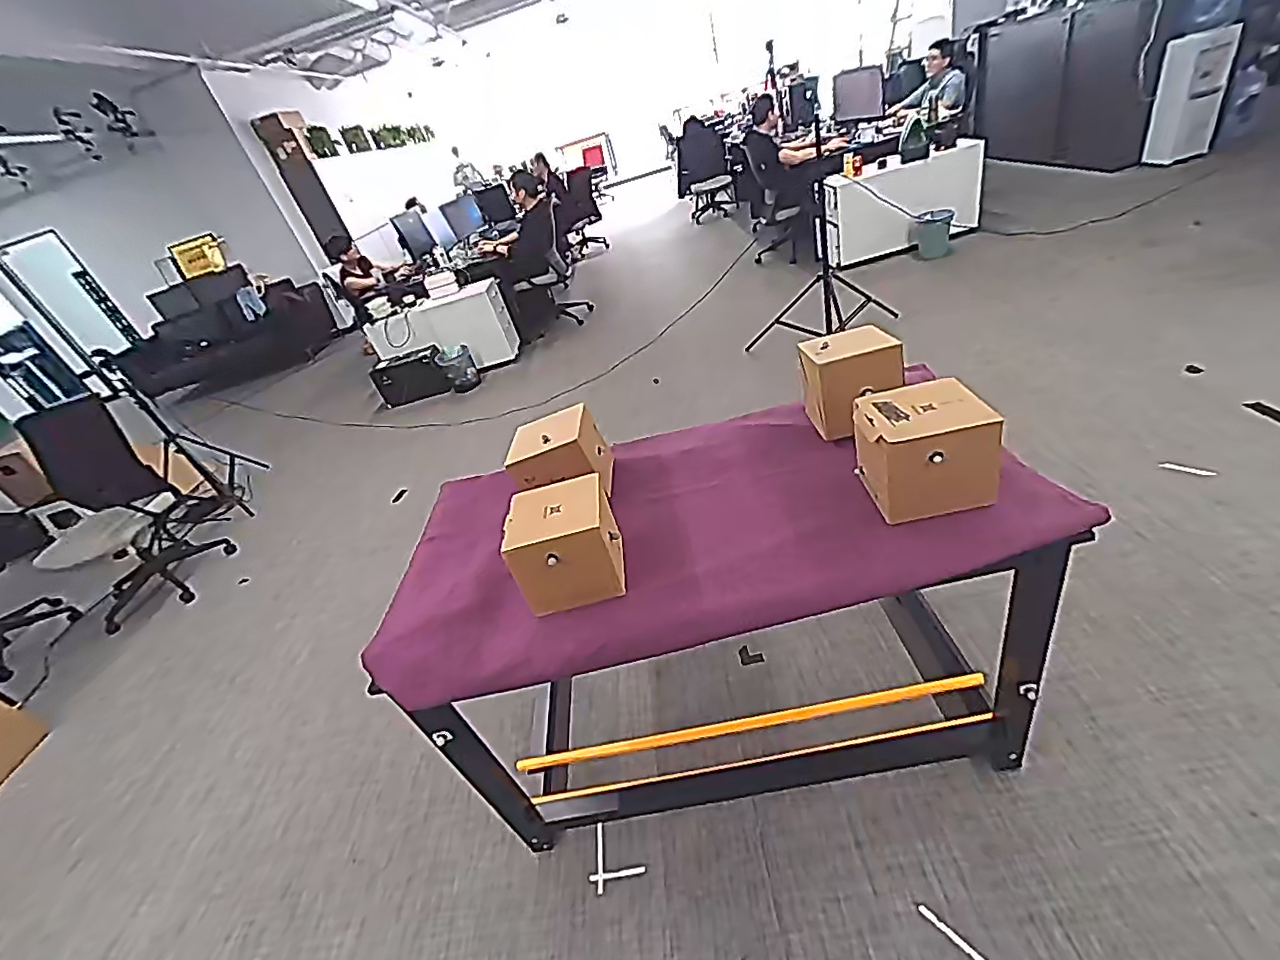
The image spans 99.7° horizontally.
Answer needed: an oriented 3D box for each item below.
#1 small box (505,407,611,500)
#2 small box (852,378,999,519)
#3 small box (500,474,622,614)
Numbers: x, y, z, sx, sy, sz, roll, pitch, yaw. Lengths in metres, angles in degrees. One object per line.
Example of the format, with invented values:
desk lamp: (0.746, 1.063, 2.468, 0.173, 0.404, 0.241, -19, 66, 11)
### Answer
small box: (-0.175, -0.040, 1.218, 0.179, 0.168, 0.176, -19, 32, 13)
small box: (0.487, -0.052, 0.939, 0.179, 0.176, 0.168, -12, 33, 8)
small box: (-0.134, 0.118, 0.996, 0.179, 0.176, 0.168, -15, 34, 5)
